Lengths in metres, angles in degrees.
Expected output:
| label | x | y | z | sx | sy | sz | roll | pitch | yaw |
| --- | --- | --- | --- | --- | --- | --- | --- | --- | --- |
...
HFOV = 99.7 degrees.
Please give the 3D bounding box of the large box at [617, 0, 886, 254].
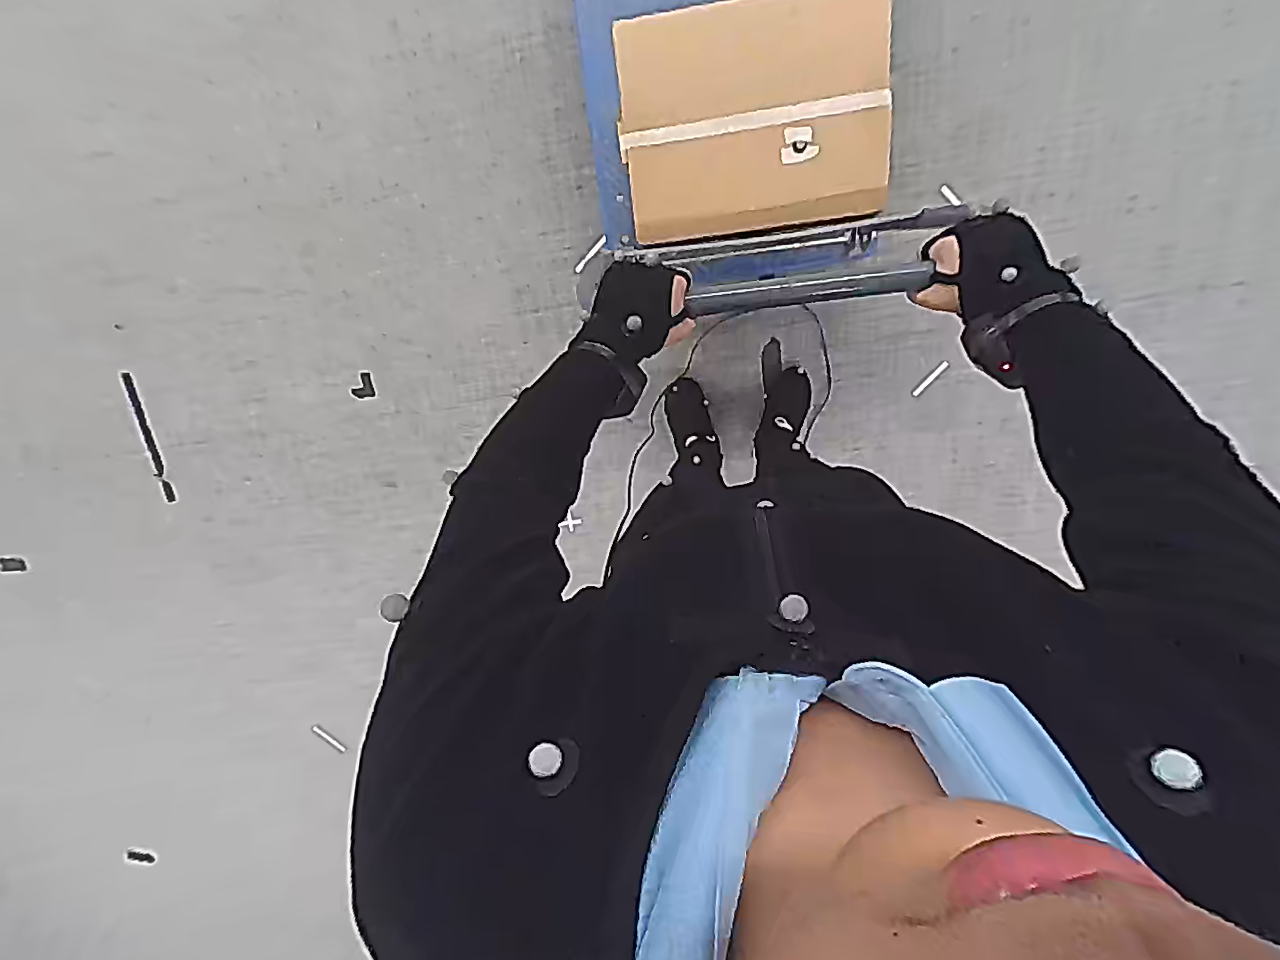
| label | x | y | z | sx | sy | sz | roll | pitch | yaw |
| --- | --- | --- | --- | --- | --- | --- | --- | --- | --- |
| large box | 0.189 | -0.614 | 0.990 | 0.408 | 0.320 | 0.320 | -6 | 110 | 6 |
